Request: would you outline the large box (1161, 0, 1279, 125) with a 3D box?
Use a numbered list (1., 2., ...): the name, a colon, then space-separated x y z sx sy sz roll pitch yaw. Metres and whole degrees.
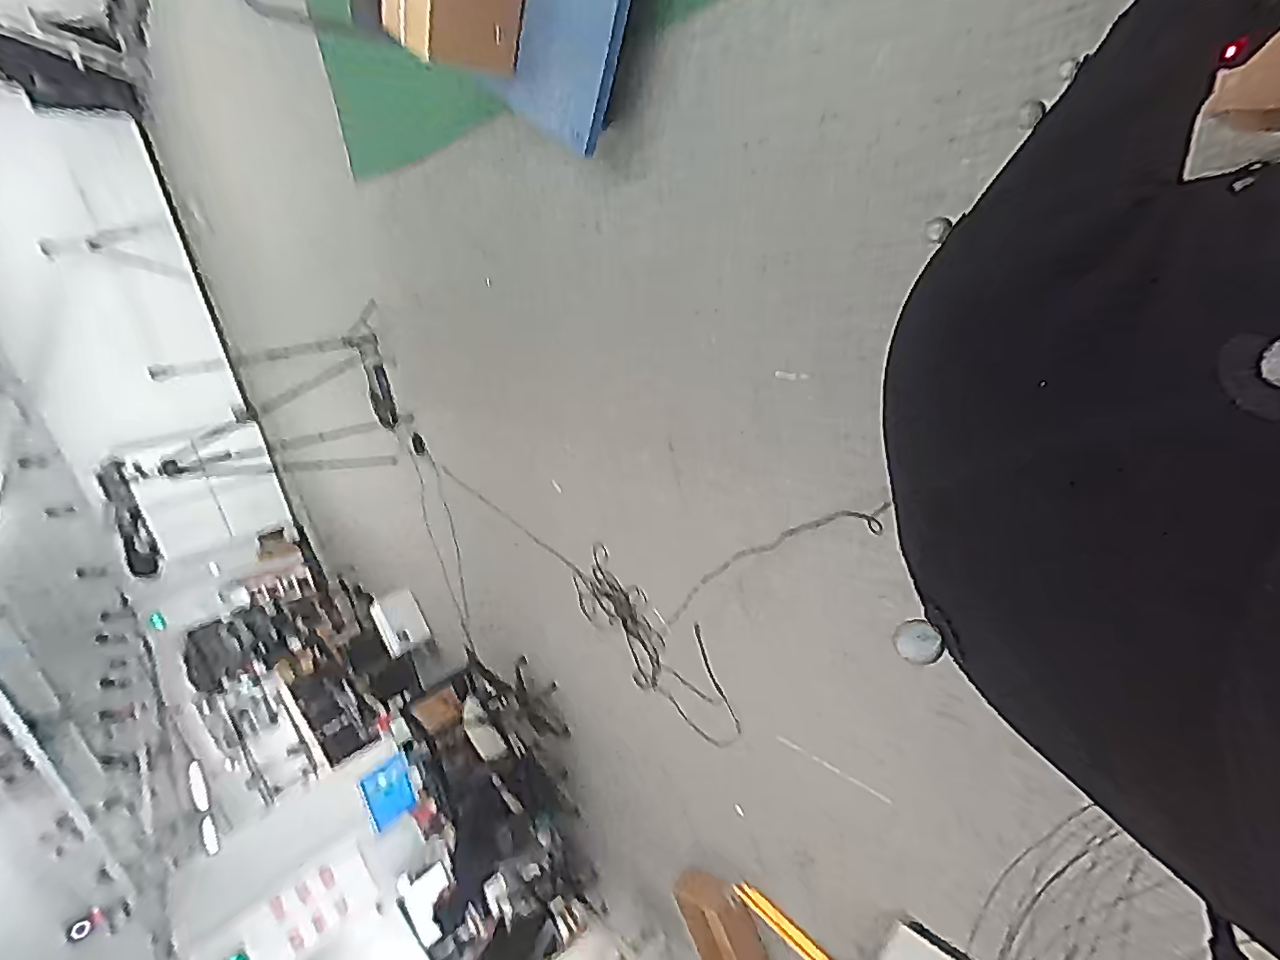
1. large box: 0.714 -0.435 0.364 0.408 0.320 0.320 33 132 42
